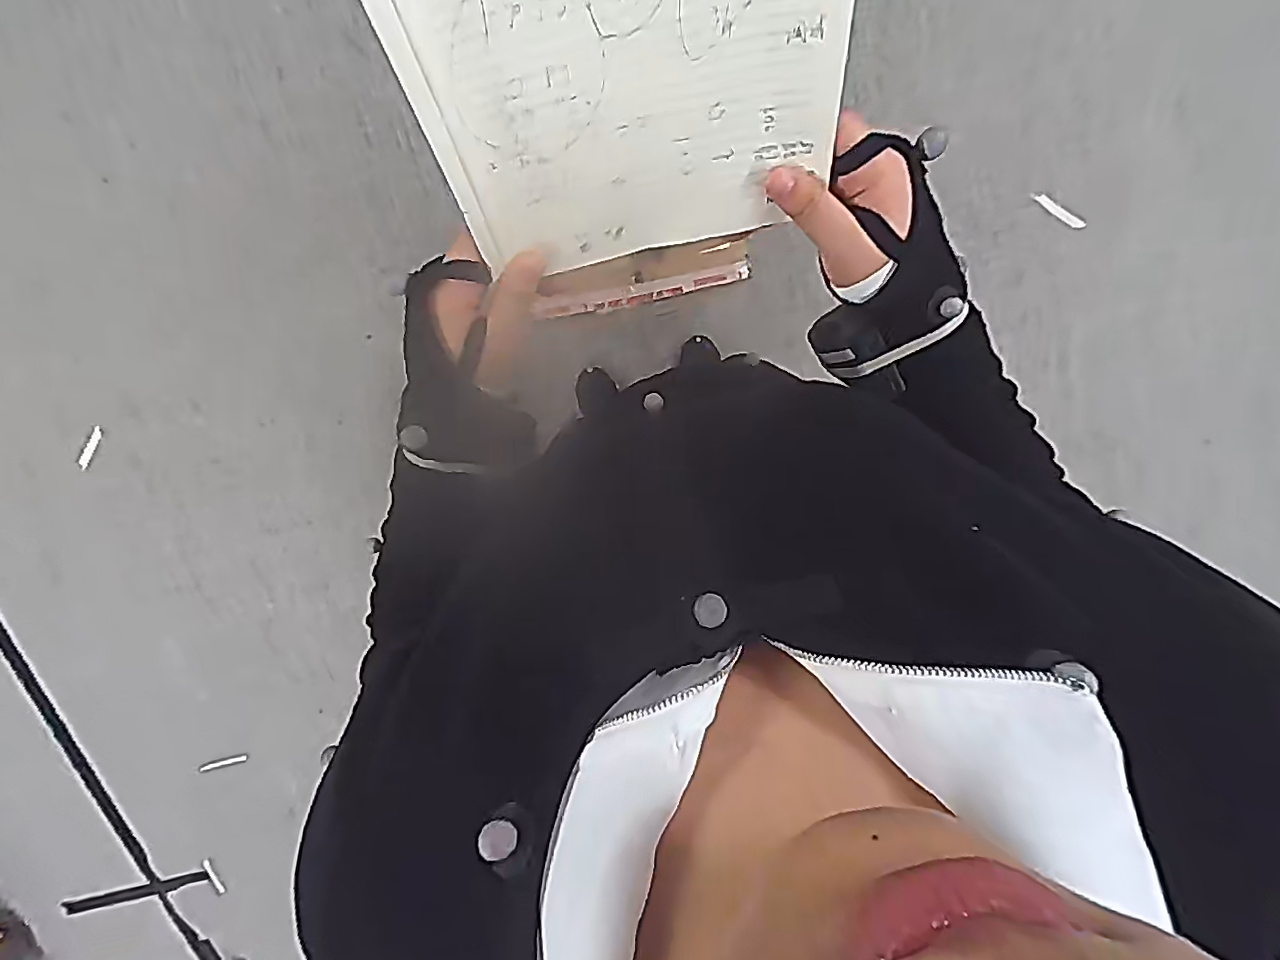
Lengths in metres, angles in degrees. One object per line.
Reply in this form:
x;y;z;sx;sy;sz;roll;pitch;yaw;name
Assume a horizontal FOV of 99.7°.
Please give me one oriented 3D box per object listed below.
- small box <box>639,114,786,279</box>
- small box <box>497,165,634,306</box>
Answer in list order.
0.104;-0.426;0.841;0.179;0.176;0.168;-17;104;2;small box
-0.106;-0.371;0.849;0.179;0.176;0.168;-8;105;2;small box
